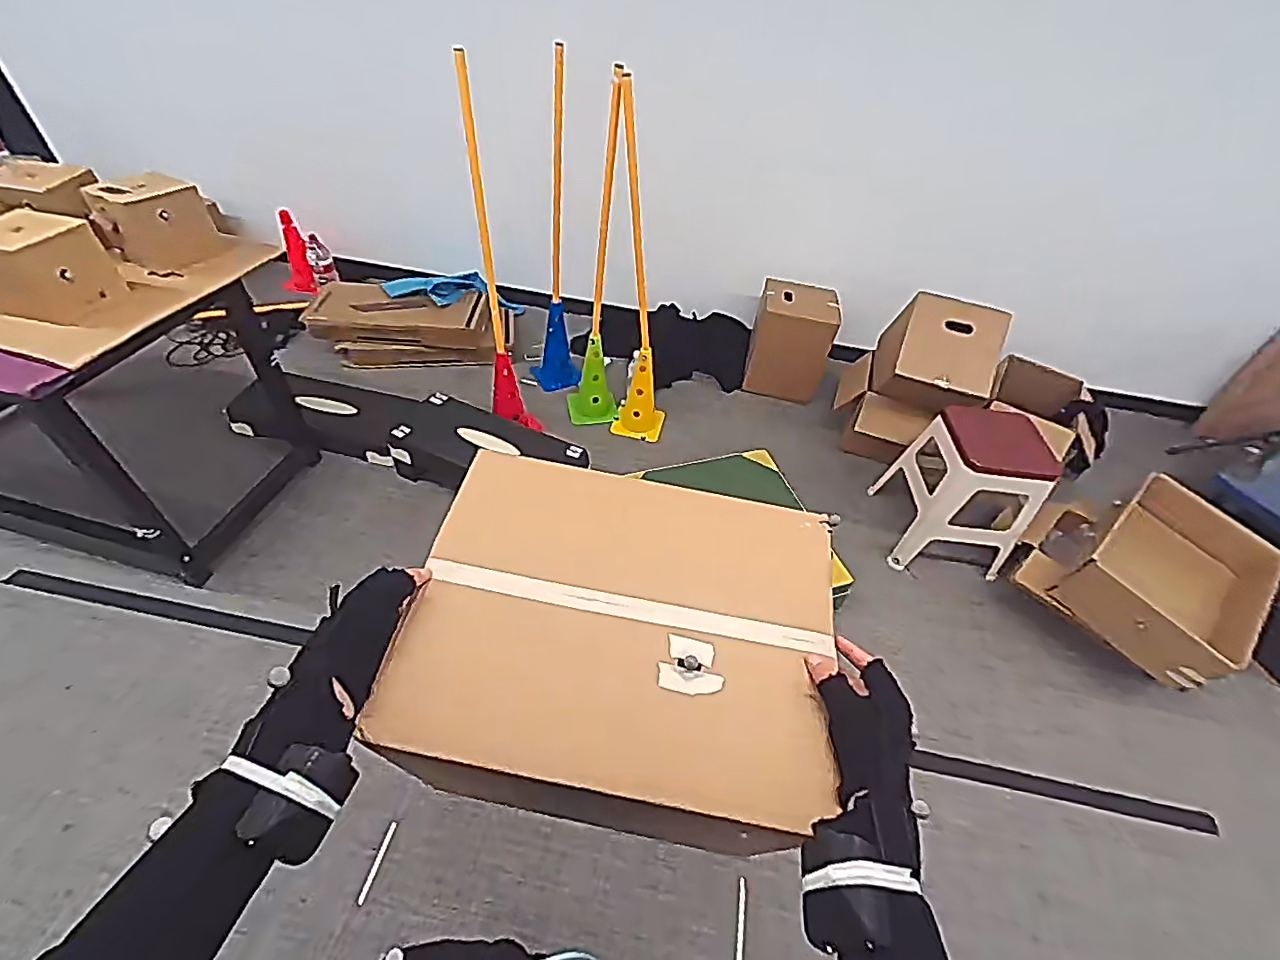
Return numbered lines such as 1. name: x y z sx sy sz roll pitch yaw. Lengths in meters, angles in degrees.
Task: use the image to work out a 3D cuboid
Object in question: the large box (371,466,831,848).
1. large box: -0.028 0.224 0.659 0.408 0.320 0.320 11 54 1
